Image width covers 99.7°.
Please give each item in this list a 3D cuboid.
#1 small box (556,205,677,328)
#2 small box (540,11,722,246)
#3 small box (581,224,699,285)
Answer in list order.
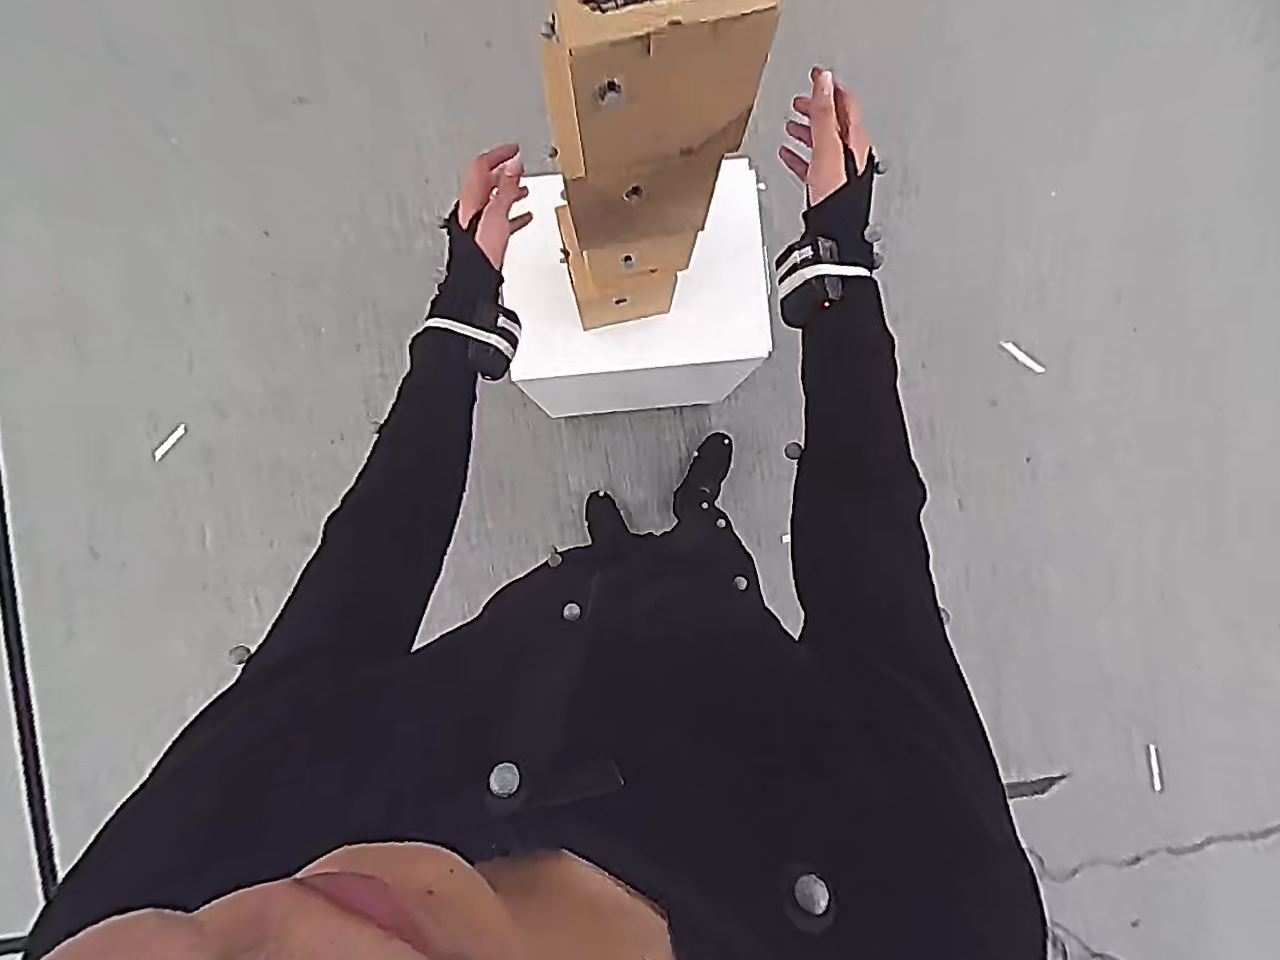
[{"bbox_3d":[-0.041,-0.389,0.978,0.179,0.176,0.168,-13,89,-3],"label":"small box"},{"bbox_3d":[-0.010,-0.405,0.653,0.179,0.176,0.168,-10,89,-2],"label":"small box"},{"bbox_3d":[-0.014,-0.414,0.818,0.168,0.176,0.179,-12,88,-2],"label":"small box"}]
